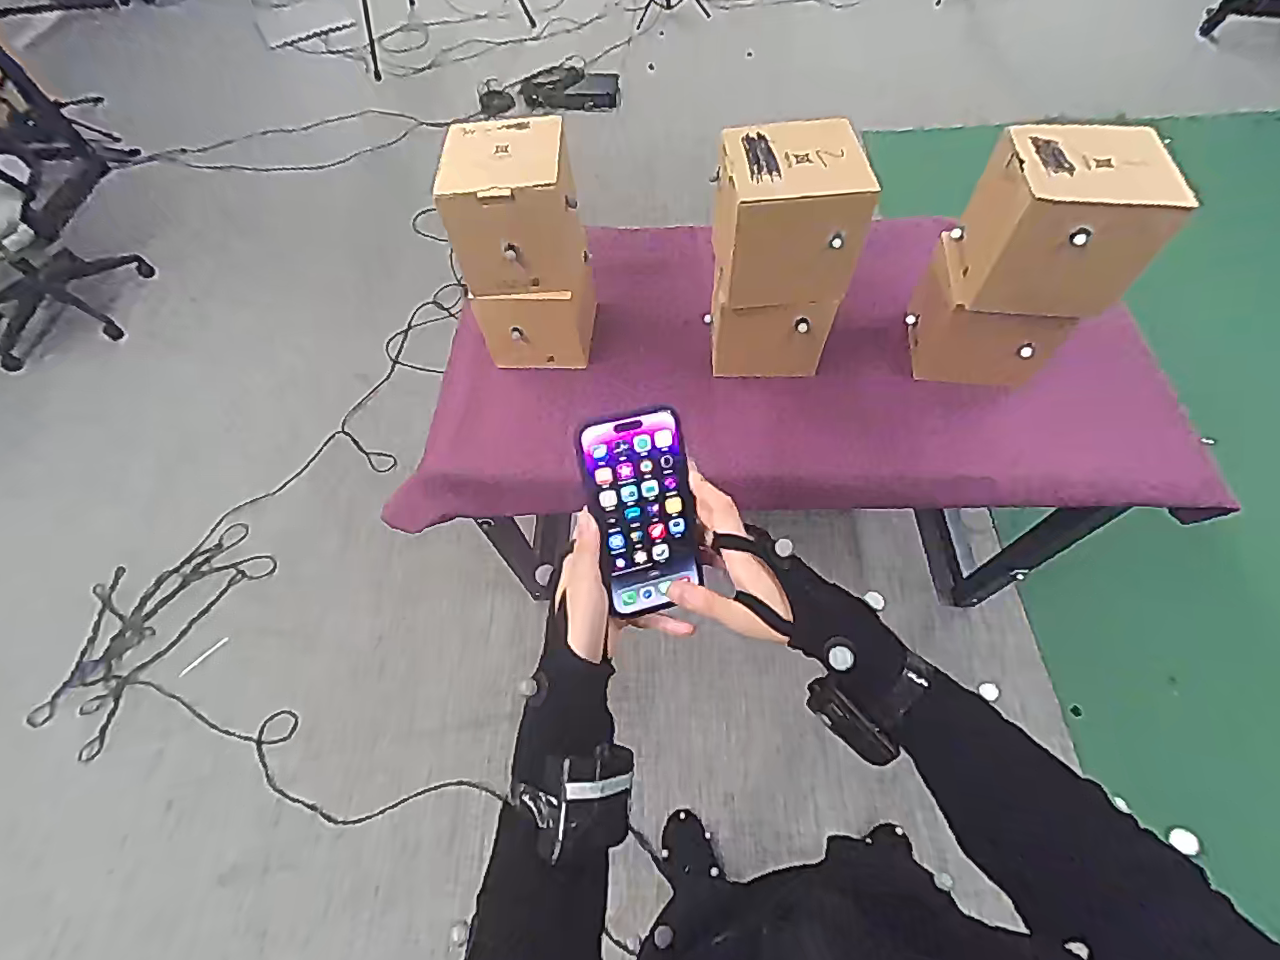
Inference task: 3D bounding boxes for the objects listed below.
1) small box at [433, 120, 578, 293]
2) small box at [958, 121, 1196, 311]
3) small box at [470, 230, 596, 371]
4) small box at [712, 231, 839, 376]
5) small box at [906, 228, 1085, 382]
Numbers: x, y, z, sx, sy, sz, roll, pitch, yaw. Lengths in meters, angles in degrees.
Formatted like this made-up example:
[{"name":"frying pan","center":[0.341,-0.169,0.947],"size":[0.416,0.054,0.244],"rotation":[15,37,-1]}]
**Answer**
[{"name":"small box","center":[-0.187,-0.397,0.809],"size":[0.168,0.176,0.179],"rotation":[-3,60,2]},{"name":"small box","center":[0.547,-0.344,0.716],"size":[0.179,0.176,0.168],"rotation":[6,60,7]},{"name":"small box","center":[-0.175,-0.307,0.946],"size":[0.168,0.176,0.179],"rotation":[1,59,5]},{"name":"small box","center":[0.213,-0.288,0.900],"size":[0.179,0.176,0.168],"rotation":[0,59,5]},{"name":"small box","center":[0.551,-0.274,0.864],"size":[0.179,0.176,0.168],"rotation":[6,60,8]}]
